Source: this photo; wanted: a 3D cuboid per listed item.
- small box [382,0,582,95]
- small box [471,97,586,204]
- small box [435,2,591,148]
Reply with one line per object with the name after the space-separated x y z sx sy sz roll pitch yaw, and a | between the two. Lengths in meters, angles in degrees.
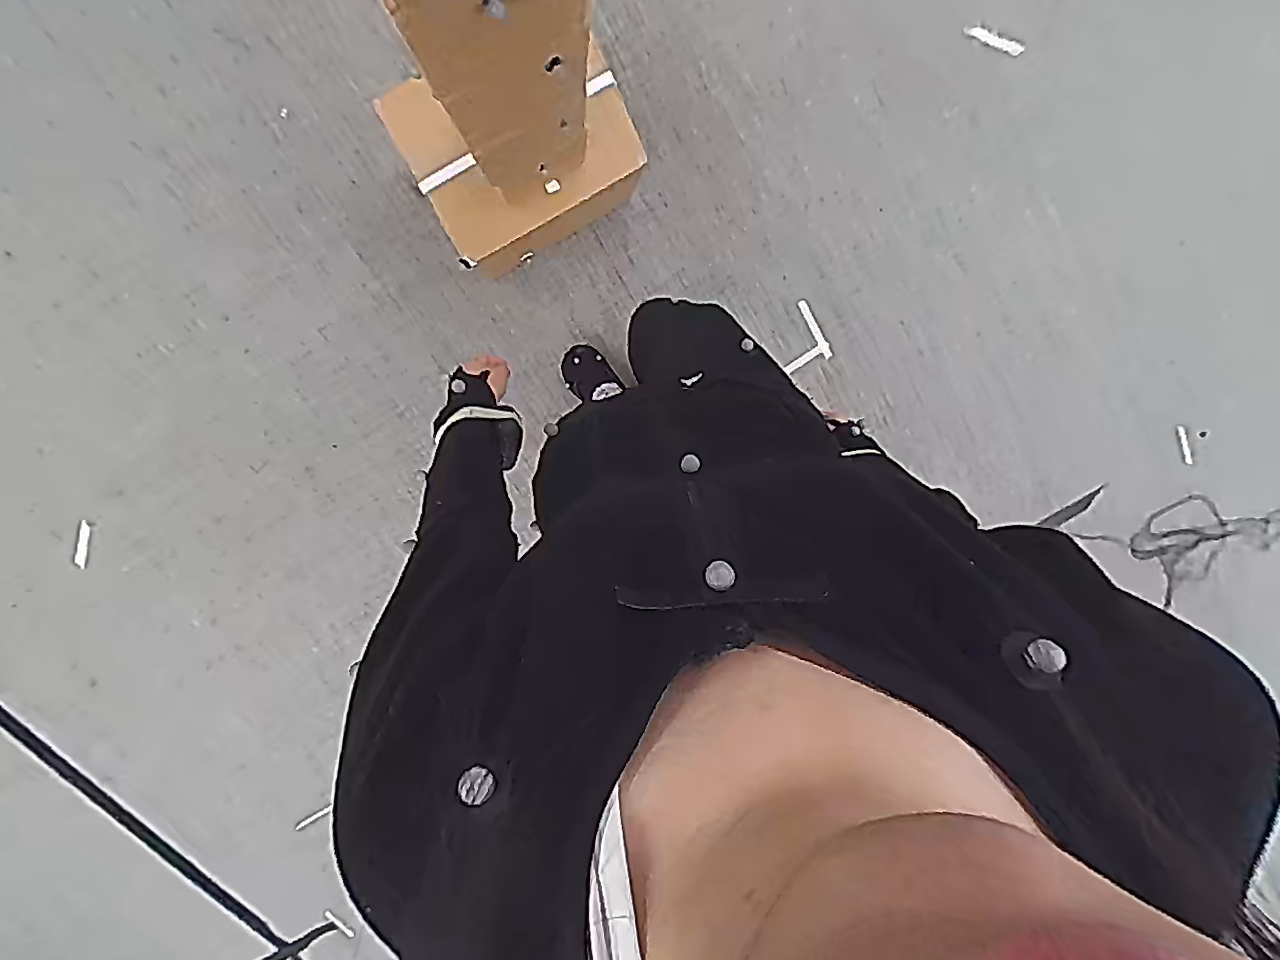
-0.153 -0.471 0.450 0.179 0.176 0.168 -28 108 1 | small box
-0.208 -0.602 0.920 0.179 0.176 0.168 -32 108 1 | small box
-0.172 -0.514 0.605 0.179 0.176 0.168 -28 107 1 | small box
